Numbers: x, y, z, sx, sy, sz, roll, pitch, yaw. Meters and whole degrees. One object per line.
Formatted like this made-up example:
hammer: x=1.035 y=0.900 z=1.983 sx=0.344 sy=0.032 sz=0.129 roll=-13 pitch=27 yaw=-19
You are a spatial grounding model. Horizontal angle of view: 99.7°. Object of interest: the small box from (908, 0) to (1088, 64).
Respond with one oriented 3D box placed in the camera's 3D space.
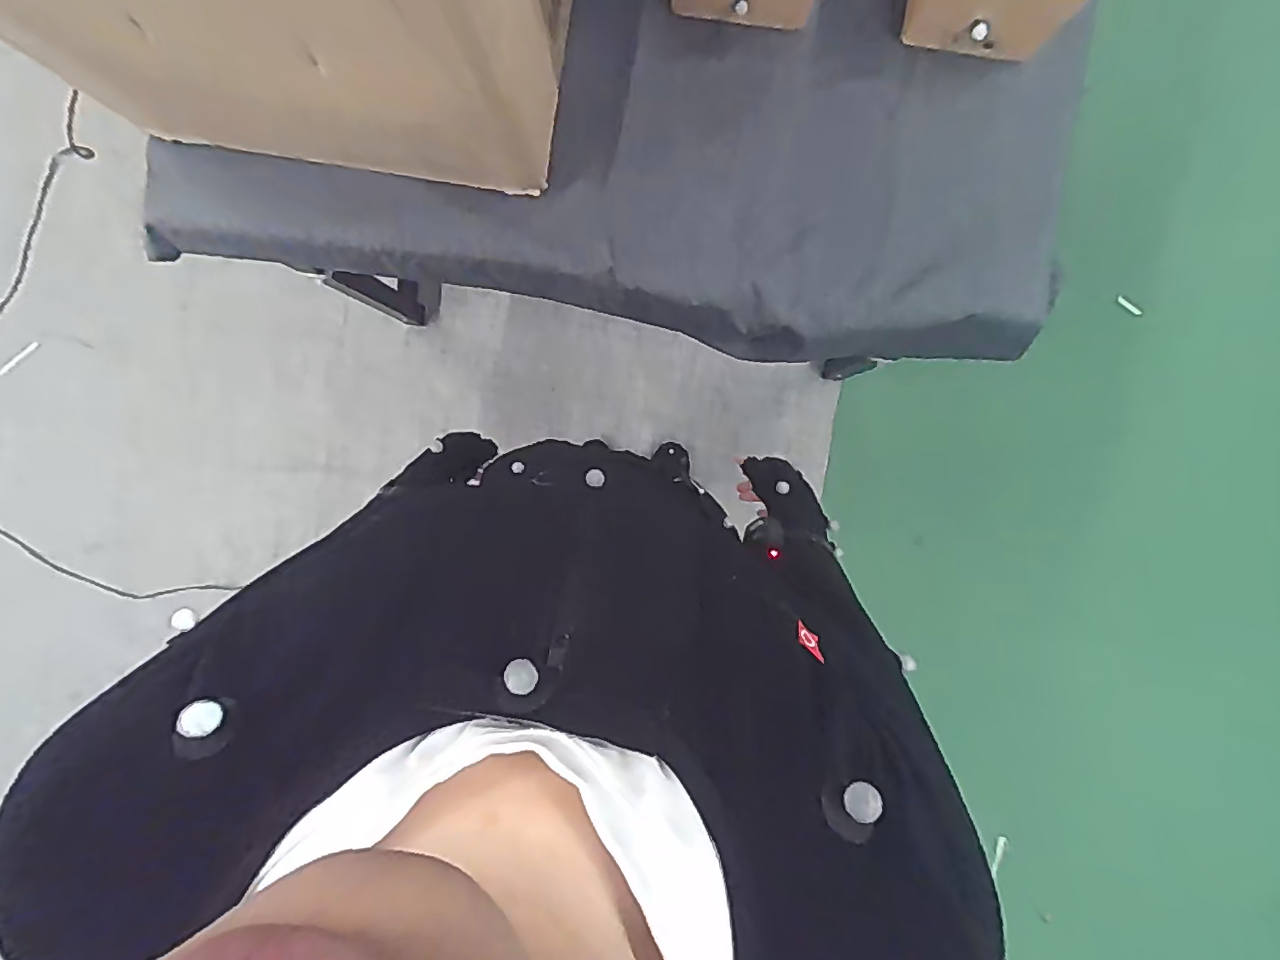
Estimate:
small box: x=0.431 y=-0.627 z=0.609 sx=0.168 sy=0.176 sz=0.179 roll=11 pitch=95 yaw=1
